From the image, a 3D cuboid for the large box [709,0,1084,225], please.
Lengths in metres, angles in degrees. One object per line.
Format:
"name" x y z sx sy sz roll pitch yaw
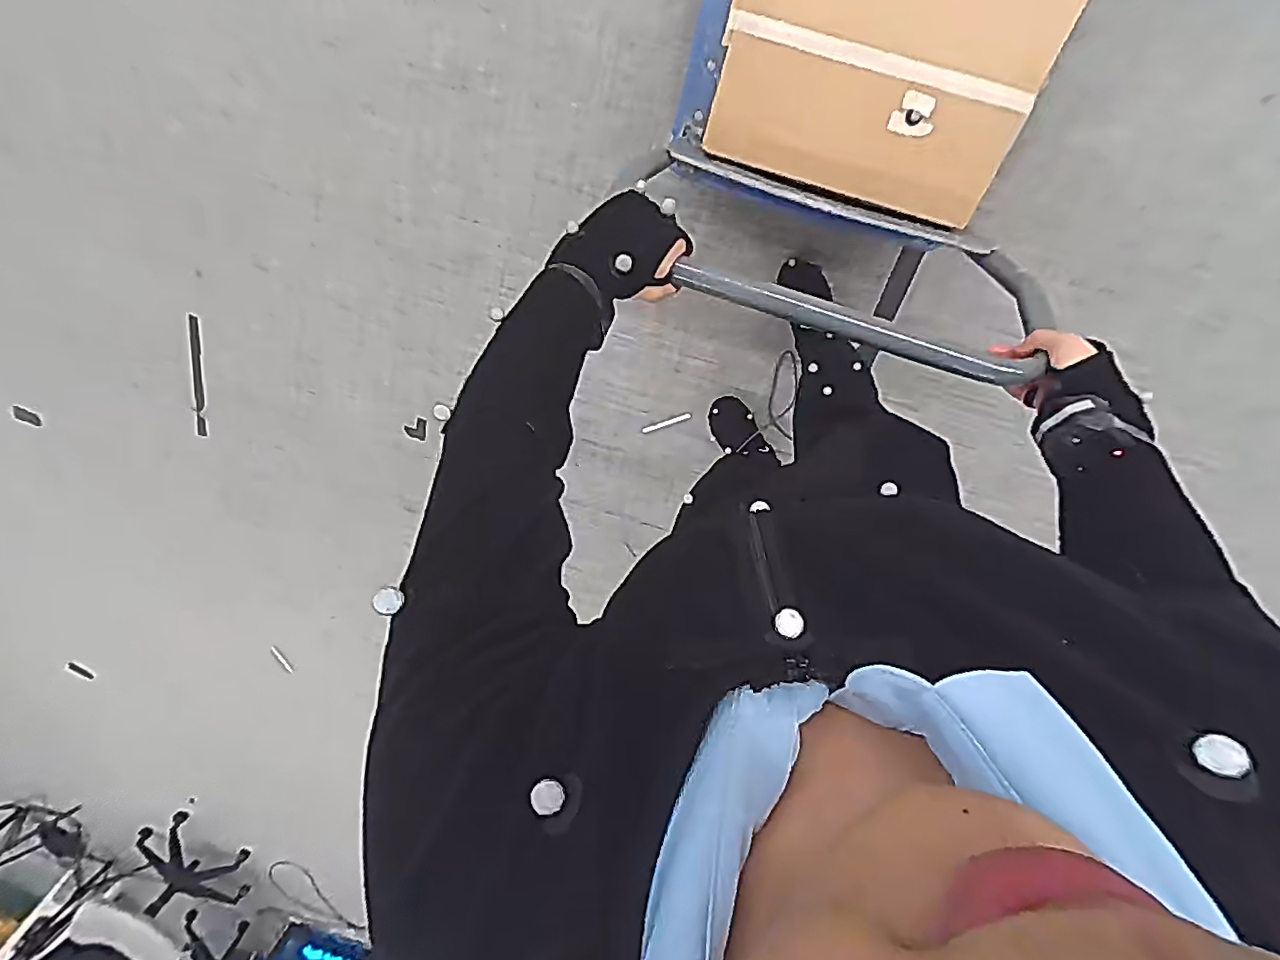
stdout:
"large box" 0.349 -0.629 0.841 0.408 0.320 0.320 18 125 1
